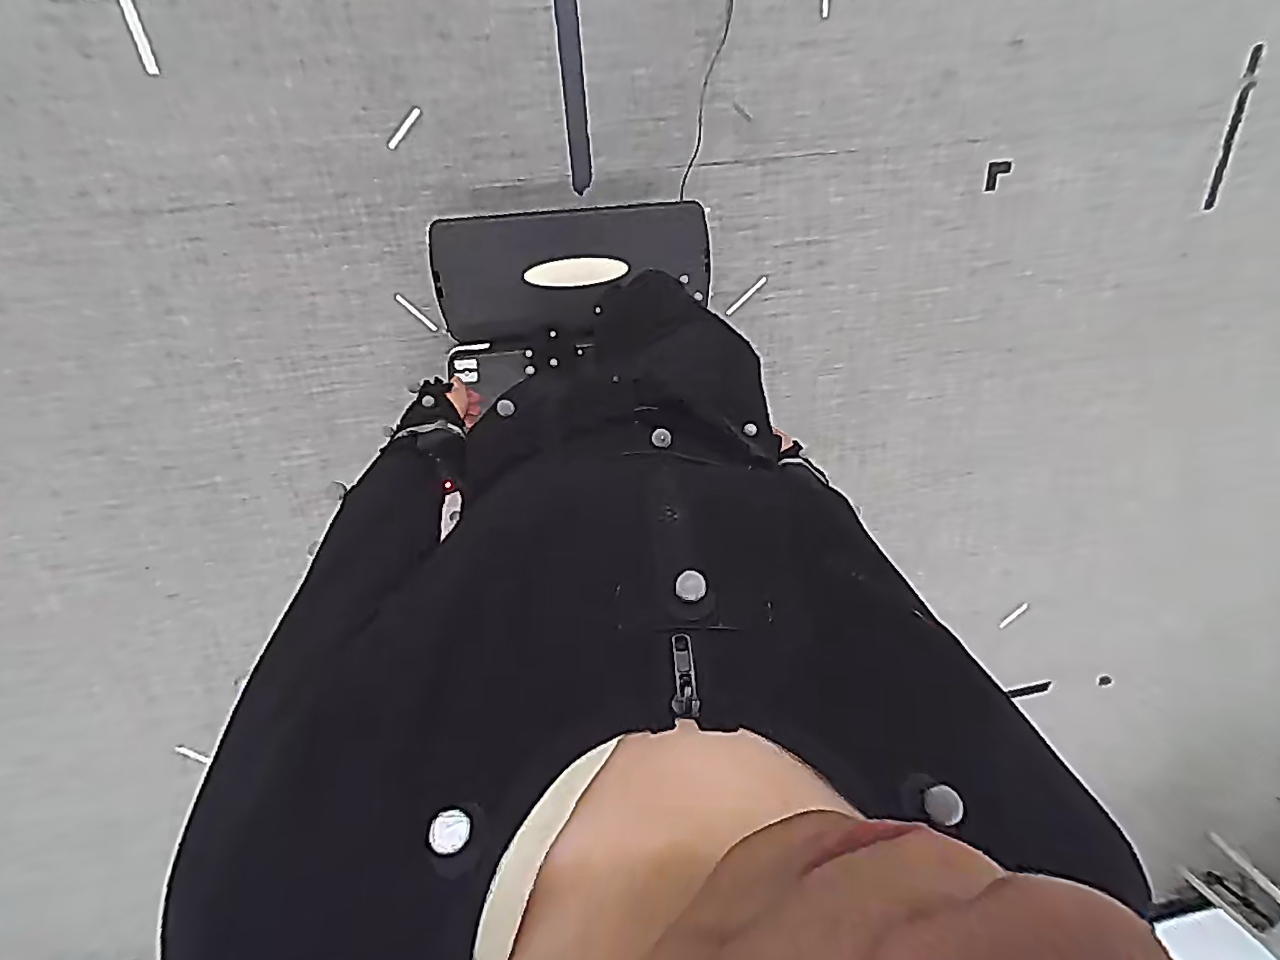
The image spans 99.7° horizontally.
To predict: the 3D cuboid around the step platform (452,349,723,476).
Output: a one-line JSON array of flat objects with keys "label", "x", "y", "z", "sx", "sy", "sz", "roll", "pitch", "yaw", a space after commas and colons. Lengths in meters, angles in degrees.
[{"label": "step platform", "x": -0.127, "y": -0.180, "z": 1.407, "sx": 0.684, "sy": 0.204, "sz": 0.286, "roll": -3, "pitch": 110, "yaw": -8}]
